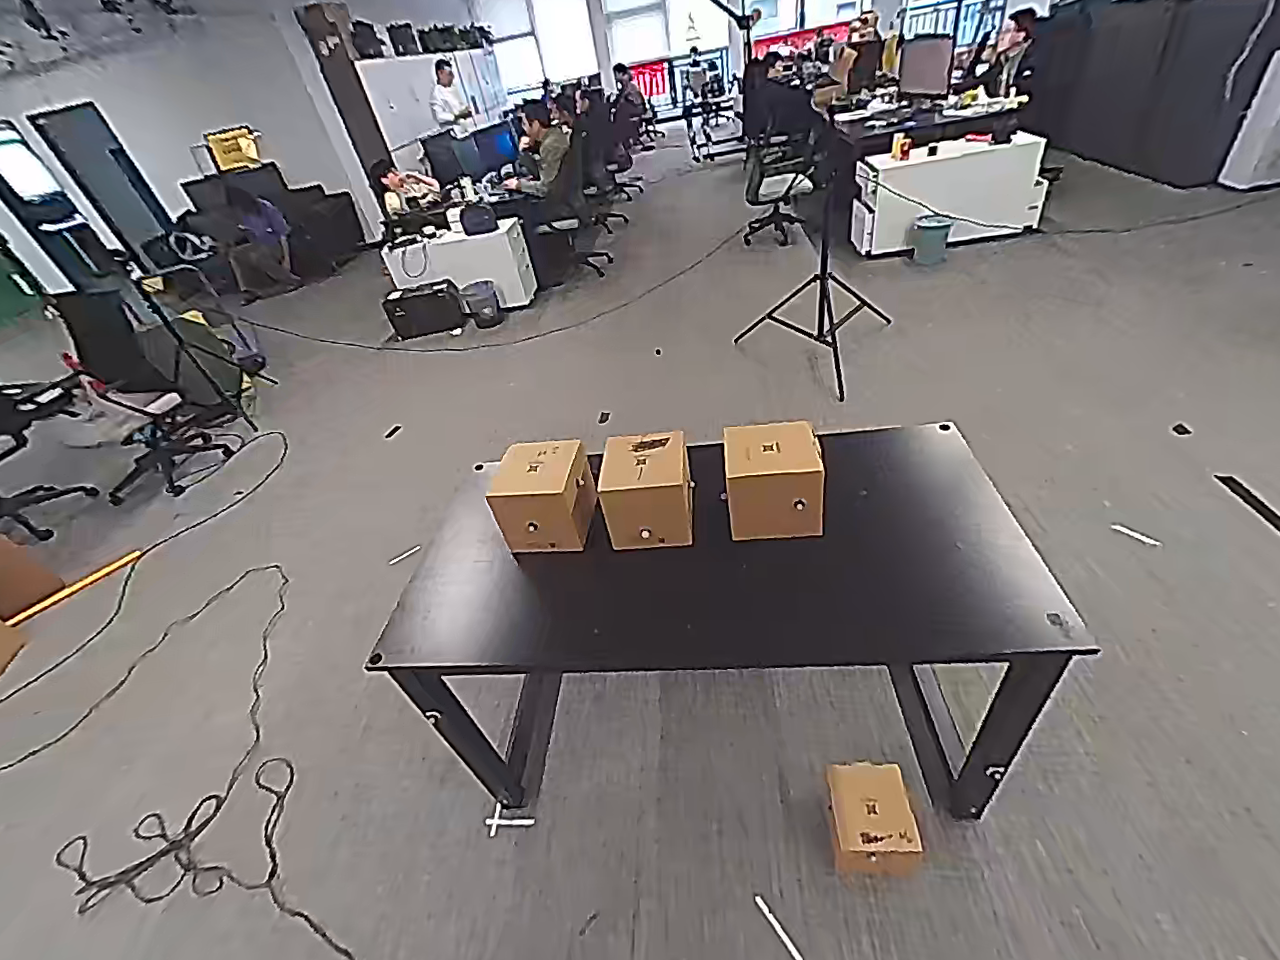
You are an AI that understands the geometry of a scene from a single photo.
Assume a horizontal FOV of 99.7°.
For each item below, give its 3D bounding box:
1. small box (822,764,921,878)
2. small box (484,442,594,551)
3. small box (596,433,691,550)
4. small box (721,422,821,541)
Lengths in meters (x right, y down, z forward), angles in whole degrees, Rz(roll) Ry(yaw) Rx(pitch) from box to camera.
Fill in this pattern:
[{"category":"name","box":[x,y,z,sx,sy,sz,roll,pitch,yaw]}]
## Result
[{"category":"small box","box":[0.516,0.775,1.234,0.168,0.176,0.179,-6,38,9]},{"category":"small box","box":[-0.206,0.040,1.165,0.168,0.176,0.179,-3,39,11]},{"category":"small box","box":[0.014,0.025,1.125,0.168,0.176,0.179,-5,40,9]},{"category":"small box","box":[0.259,0.005,1.085,0.179,0.176,0.168,-6,38,10]}]
